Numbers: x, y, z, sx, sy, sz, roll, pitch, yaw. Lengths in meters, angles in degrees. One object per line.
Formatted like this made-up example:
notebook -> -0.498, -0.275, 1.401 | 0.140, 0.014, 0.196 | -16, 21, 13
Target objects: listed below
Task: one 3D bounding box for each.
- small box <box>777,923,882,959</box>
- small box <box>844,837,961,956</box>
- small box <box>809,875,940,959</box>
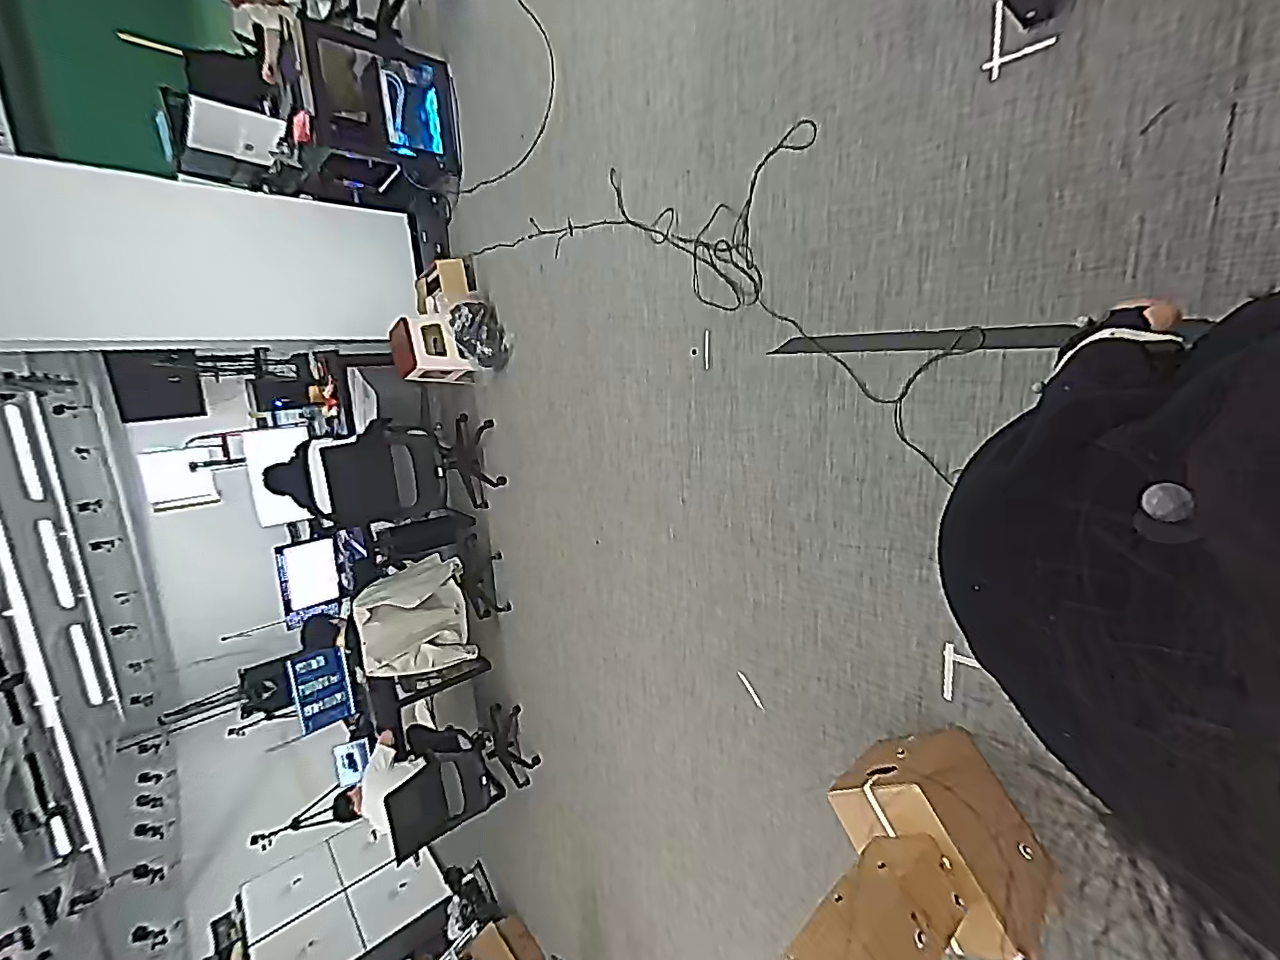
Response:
small box -> 0.397, 1.048, 1.096 | 0.179, 0.176, 0.168 | -43, 69, 47
small box -> 0.641, 0.994, 1.308 | 0.179, 0.176, 0.168 | -46, 65, 46
small box -> 0.520, 1.018, 1.202 | 0.179, 0.176, 0.168 | -42, 69, 46
